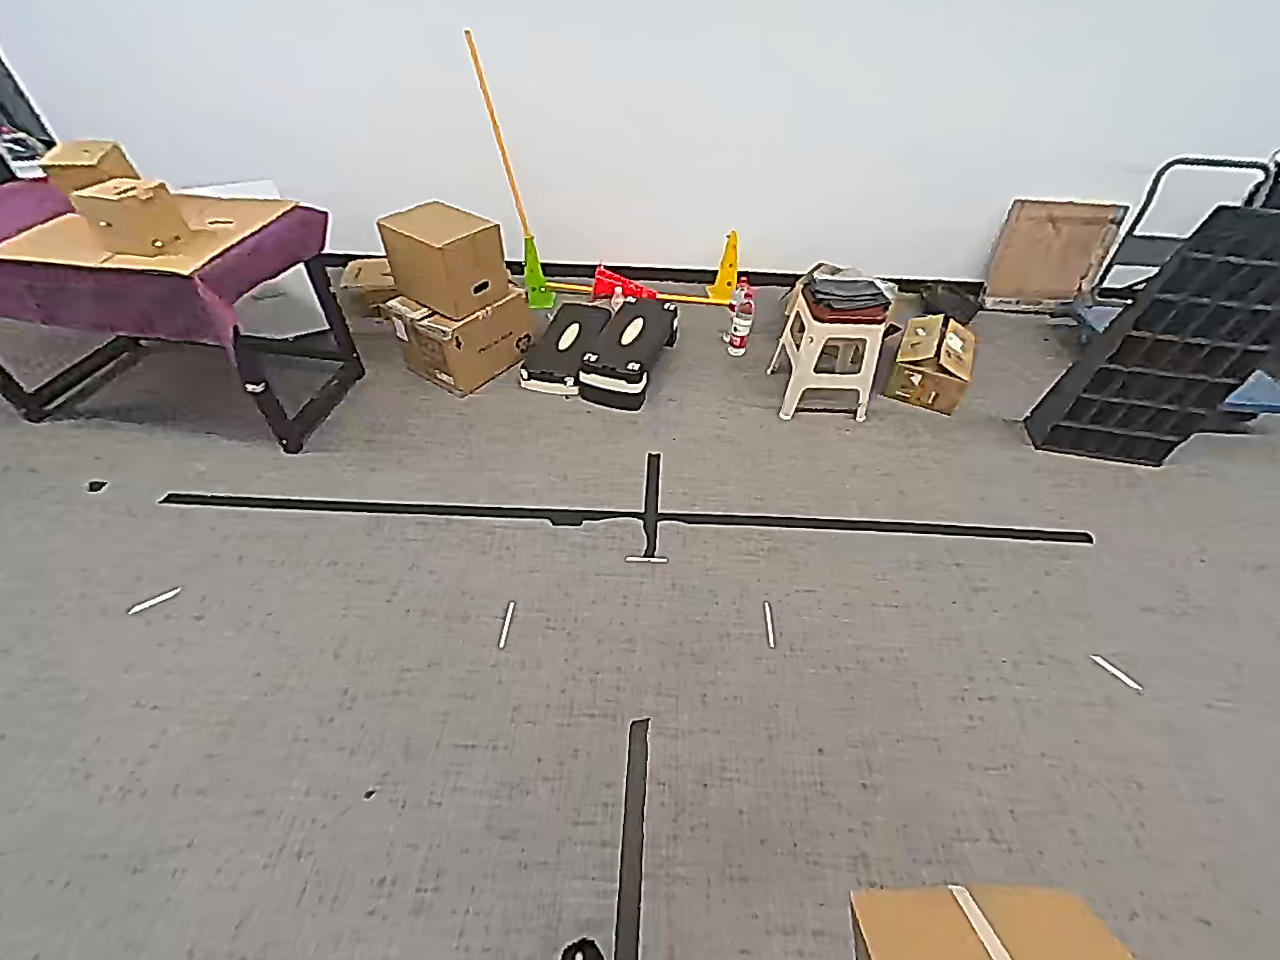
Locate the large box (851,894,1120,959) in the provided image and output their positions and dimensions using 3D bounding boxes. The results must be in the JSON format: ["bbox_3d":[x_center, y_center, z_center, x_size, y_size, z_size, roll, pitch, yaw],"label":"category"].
[{"bbox_3d":[0.454,0.760,0.596,0.320,0.408,0.320,-5,88,7],"label":"large box"}]
